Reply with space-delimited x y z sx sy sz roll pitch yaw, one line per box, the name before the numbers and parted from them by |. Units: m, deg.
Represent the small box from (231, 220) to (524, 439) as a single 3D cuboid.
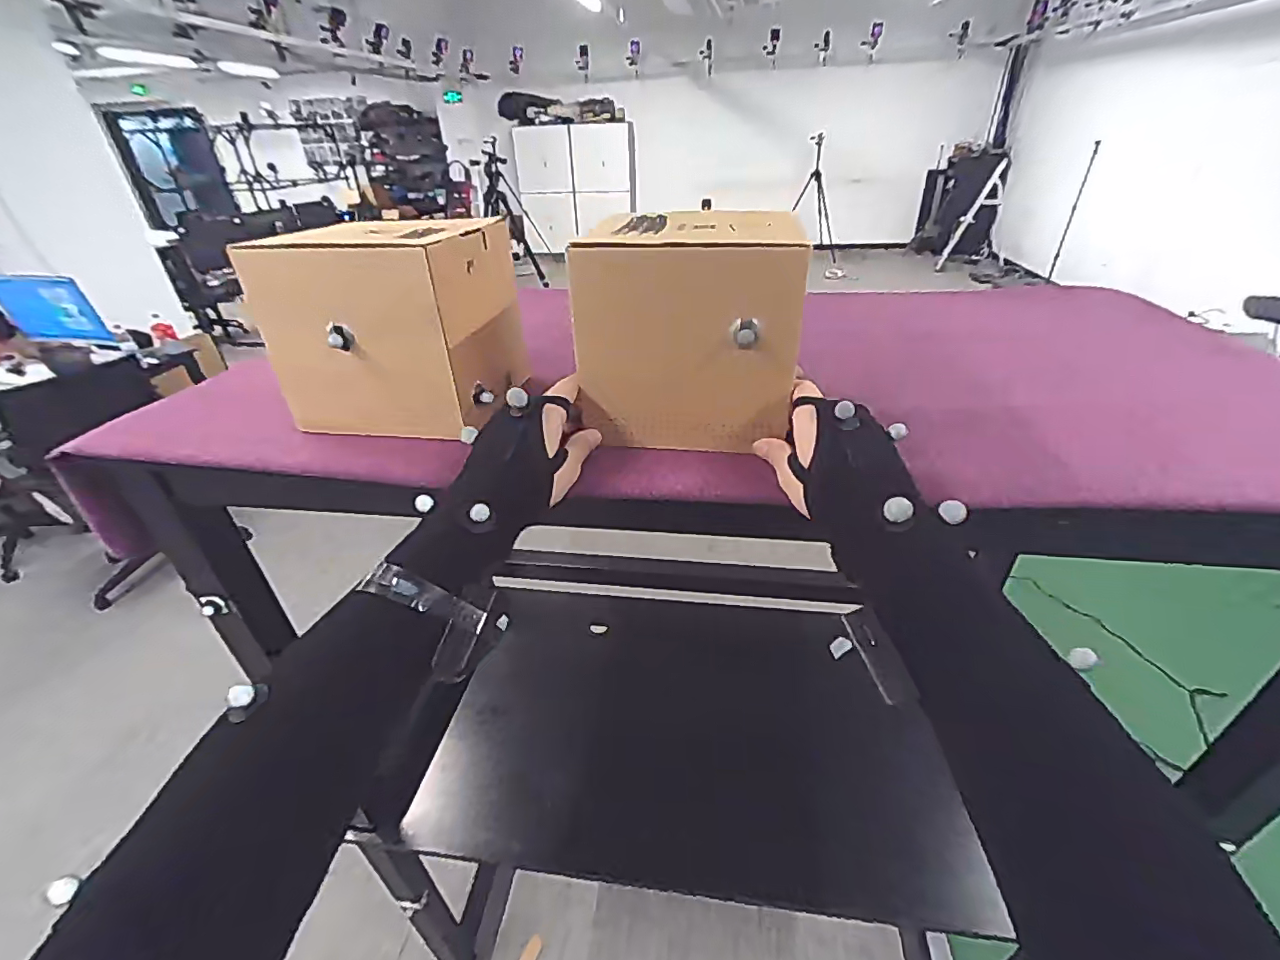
small box | -0.228 -0.149 0.527 0.179 0.176 0.168 3 32 9
